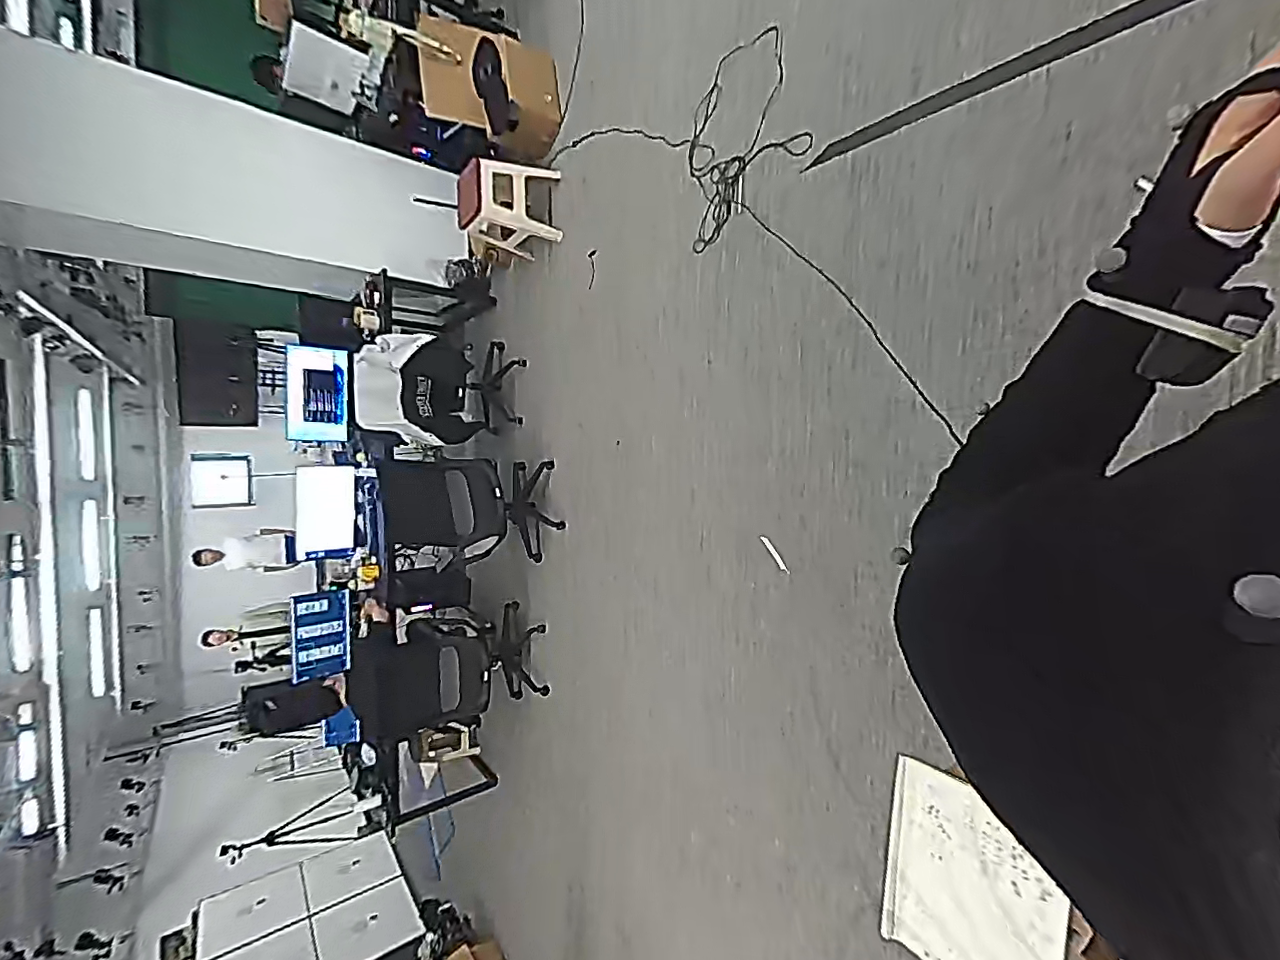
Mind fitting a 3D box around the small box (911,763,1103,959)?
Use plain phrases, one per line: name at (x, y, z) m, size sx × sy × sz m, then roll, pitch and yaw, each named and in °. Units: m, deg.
small box at (0.500, 0.531, 0.740) m, size 0.168 × 0.176 × 0.179 m, roll 9°, pitch 97°, yaw 54°
